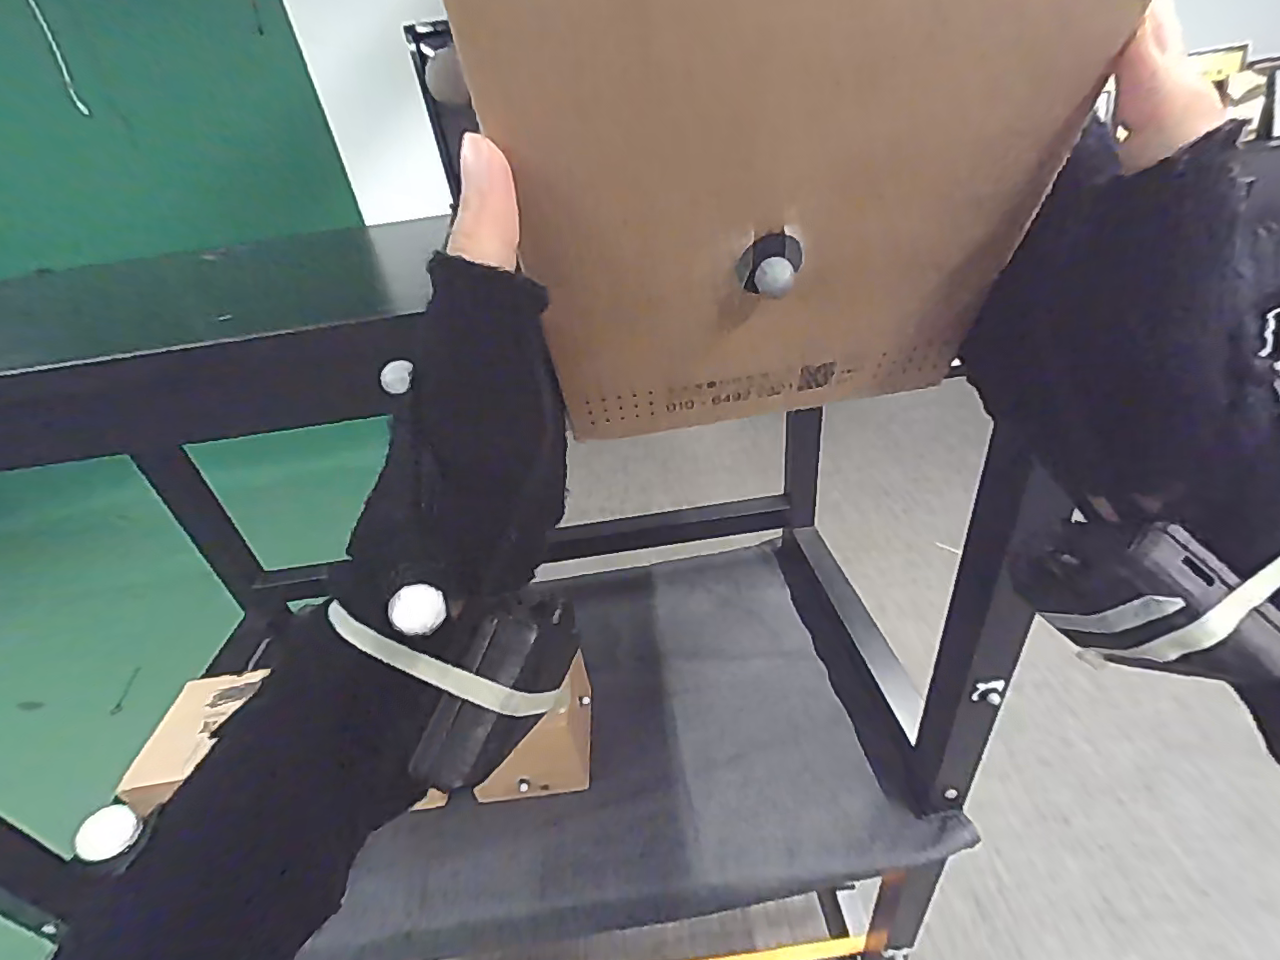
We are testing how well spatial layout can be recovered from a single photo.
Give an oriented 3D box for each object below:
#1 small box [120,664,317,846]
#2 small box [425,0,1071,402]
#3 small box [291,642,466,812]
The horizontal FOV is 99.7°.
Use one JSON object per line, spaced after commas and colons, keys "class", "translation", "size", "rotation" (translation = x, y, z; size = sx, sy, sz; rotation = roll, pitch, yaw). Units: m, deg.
{"class": "small box", "translation": [-0.607, 0.416, 0.827], "size": [0.168, 0.176, 0.179], "rotation": [-10, 32, -2]}
{"class": "small box", "translation": [0.029, -0.148, 0.219], "size": [0.168, 0.176, 0.179], "rotation": [-9, 56, -1]}
{"class": "small box", "translation": [-0.383, 0.383, 0.833], "size": [0.168, 0.176, 0.179], "rotation": [-8, 31, 0]}
